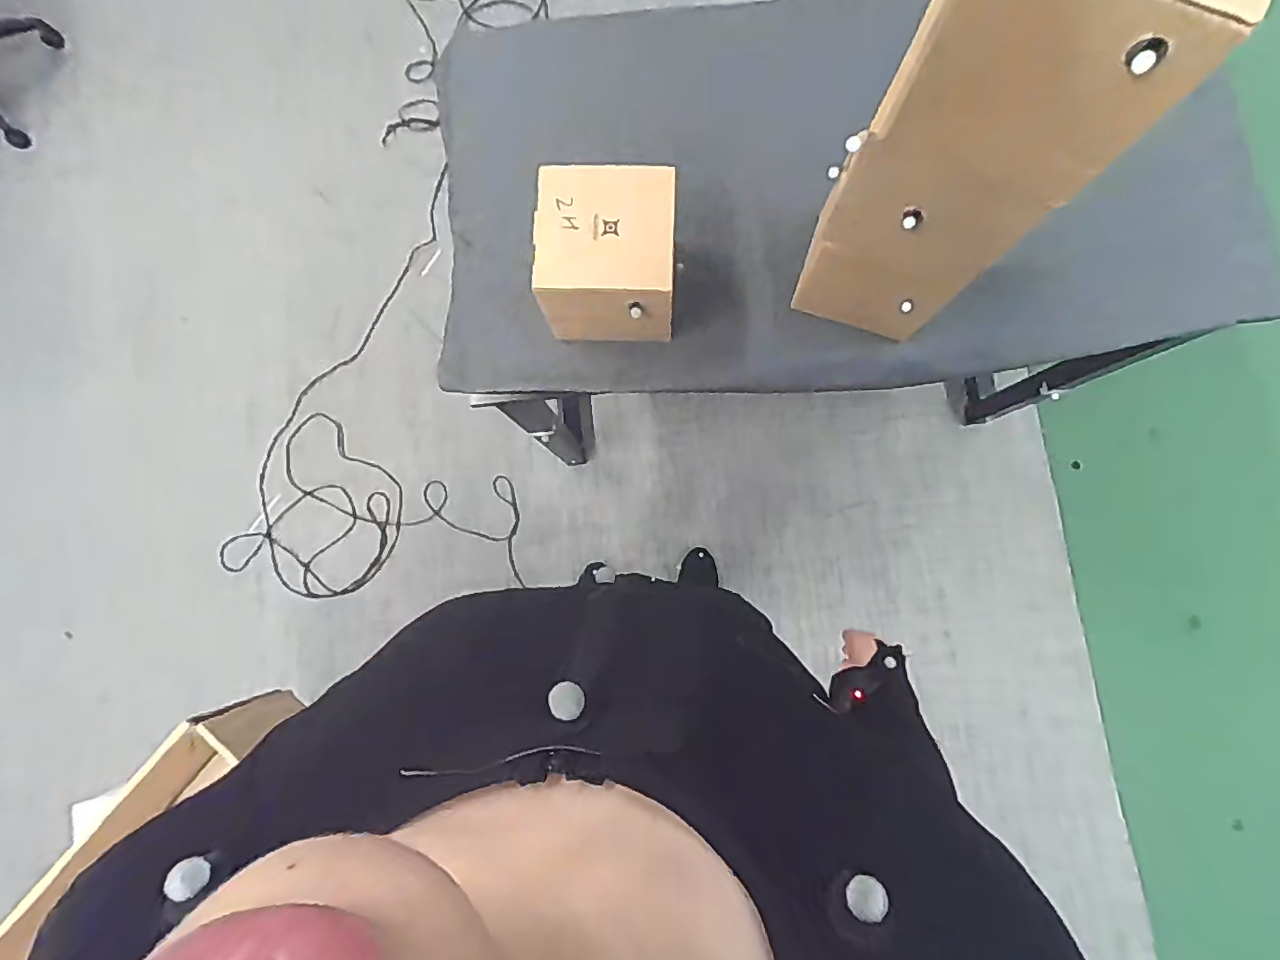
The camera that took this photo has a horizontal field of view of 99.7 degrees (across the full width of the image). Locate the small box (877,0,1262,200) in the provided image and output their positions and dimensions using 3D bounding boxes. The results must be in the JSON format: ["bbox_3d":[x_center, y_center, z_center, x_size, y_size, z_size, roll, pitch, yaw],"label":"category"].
[{"bbox_3d":[0.314,-0.354,0.410,0.179,0.176,0.168,26,84,5],"label":"small box"}]

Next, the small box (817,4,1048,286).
[{"bbox_3d":[0.318,-0.334,0.571,0.179,0.176,0.168,27,84,6],"label":"small box"}]

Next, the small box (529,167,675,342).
[{"bbox_3d":[-0.044,-0.300,0.749,0.179,0.176,0.168,2,83,3],"label":"small box"}]
